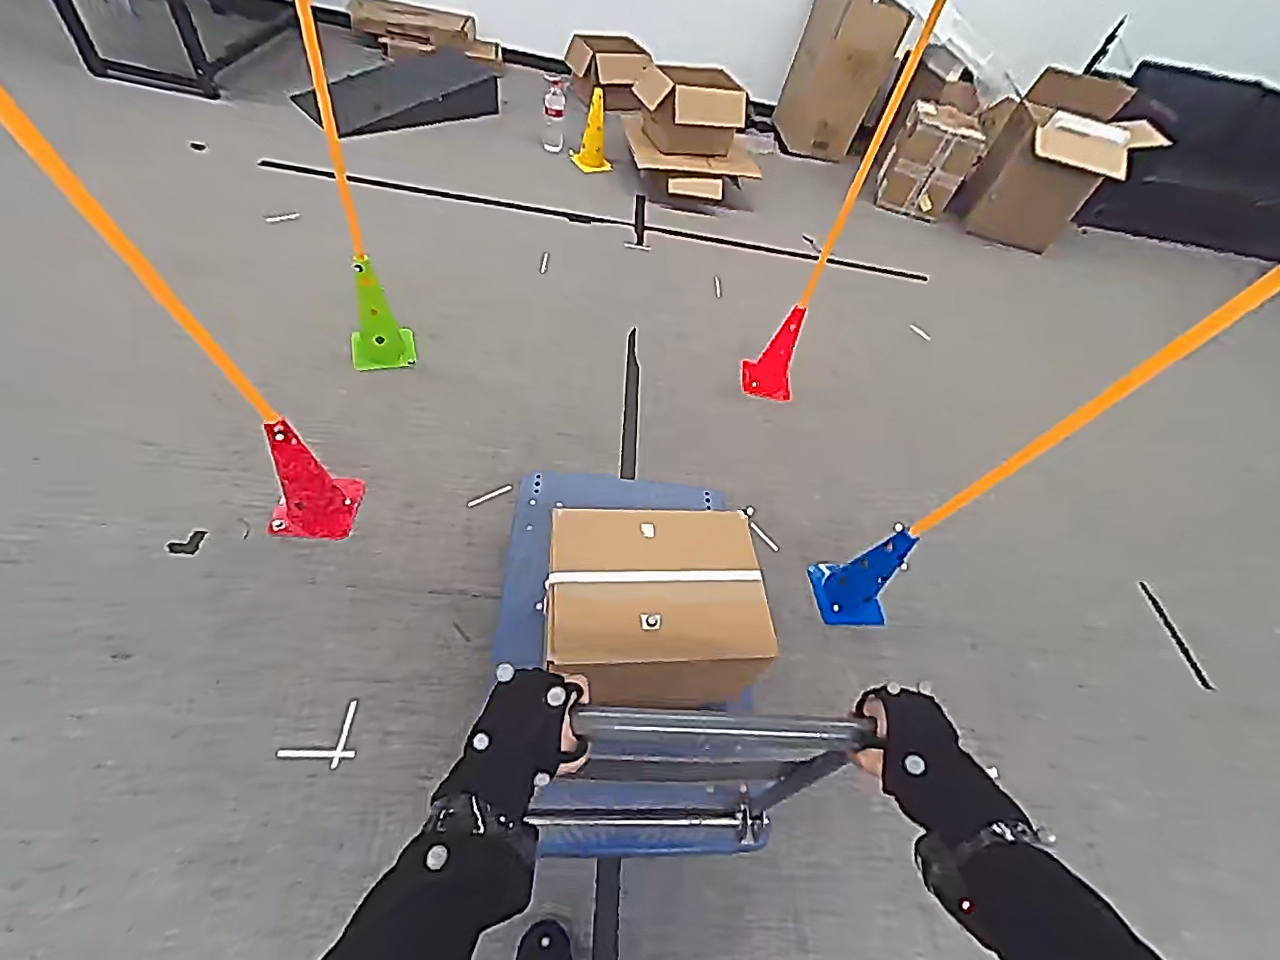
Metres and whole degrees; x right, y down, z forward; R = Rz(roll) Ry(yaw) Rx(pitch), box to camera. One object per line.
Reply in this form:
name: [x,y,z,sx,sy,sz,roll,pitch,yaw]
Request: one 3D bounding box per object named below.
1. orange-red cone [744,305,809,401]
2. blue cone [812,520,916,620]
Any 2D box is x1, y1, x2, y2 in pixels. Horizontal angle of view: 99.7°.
orange-red cone: [0.548,-0.503,2.037,0.199,0.360,0.198,13,52,-4]
blue cone: [0.660,0.239,1.520,0.193,0.380,0.192,4,52,-10]
